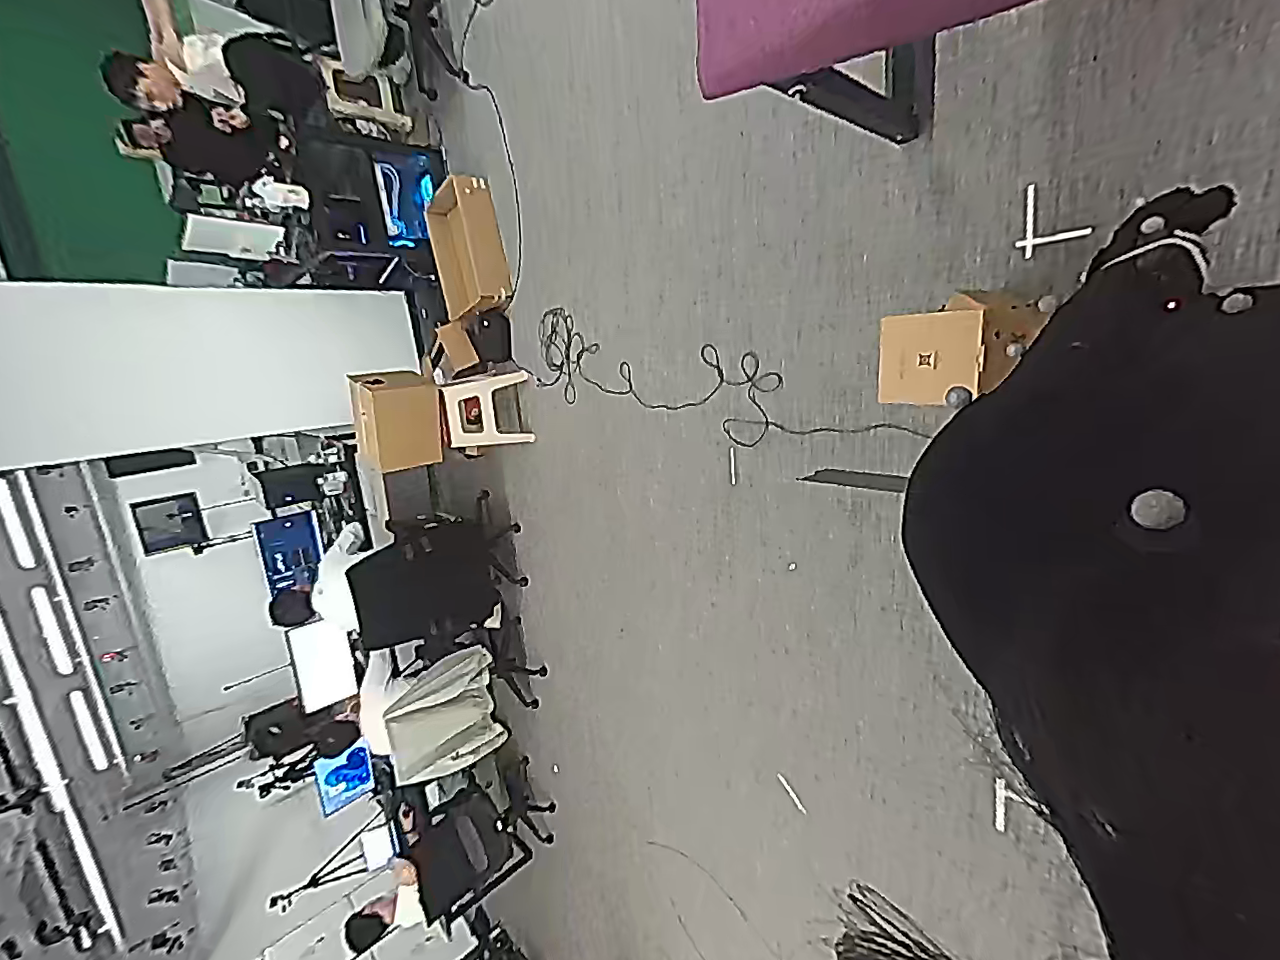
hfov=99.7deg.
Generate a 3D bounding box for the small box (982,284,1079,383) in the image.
[{"bbox_3d":[0.827,-0.323,1.209,0.179,0.176,0.168,42,131,31],"label":"small box"}]

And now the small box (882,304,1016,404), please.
[{"bbox_3d":[0.579,-0.236,1.014,0.179,0.176,0.168,11,110,47],"label":"small box"}]

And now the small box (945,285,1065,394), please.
[{"bbox_3d":[0.710,-0.282,1.102,0.179,0.176,0.168,45,133,30],"label":"small box"}]
